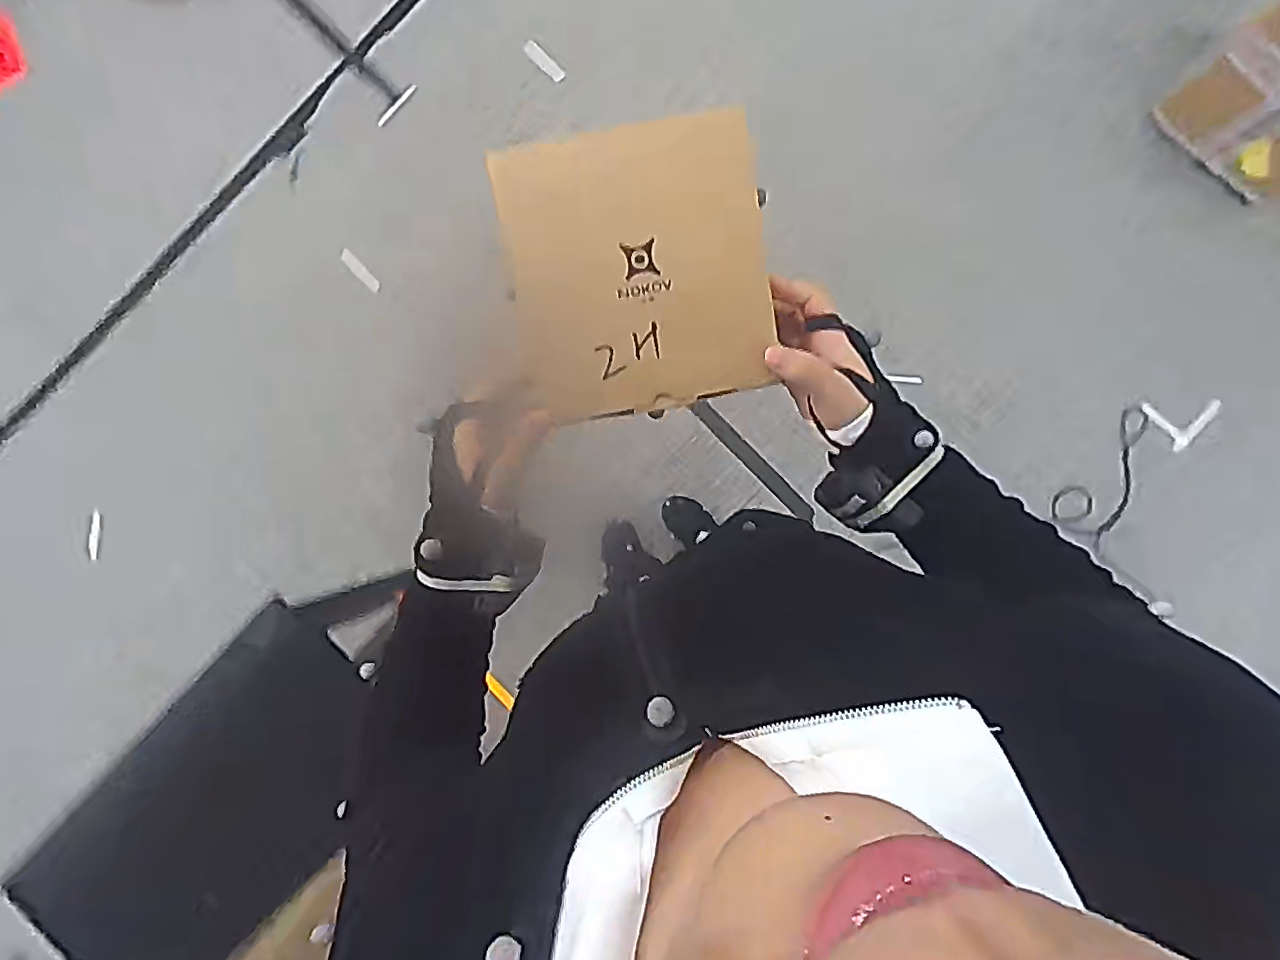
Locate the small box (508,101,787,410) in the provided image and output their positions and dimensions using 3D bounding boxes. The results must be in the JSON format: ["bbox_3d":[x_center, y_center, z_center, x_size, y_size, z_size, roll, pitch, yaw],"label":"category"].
[{"bbox_3d":[0.007,-0.157,0.435,0.168,0.176,0.179,-10,101,1],"label":"small box"}]
